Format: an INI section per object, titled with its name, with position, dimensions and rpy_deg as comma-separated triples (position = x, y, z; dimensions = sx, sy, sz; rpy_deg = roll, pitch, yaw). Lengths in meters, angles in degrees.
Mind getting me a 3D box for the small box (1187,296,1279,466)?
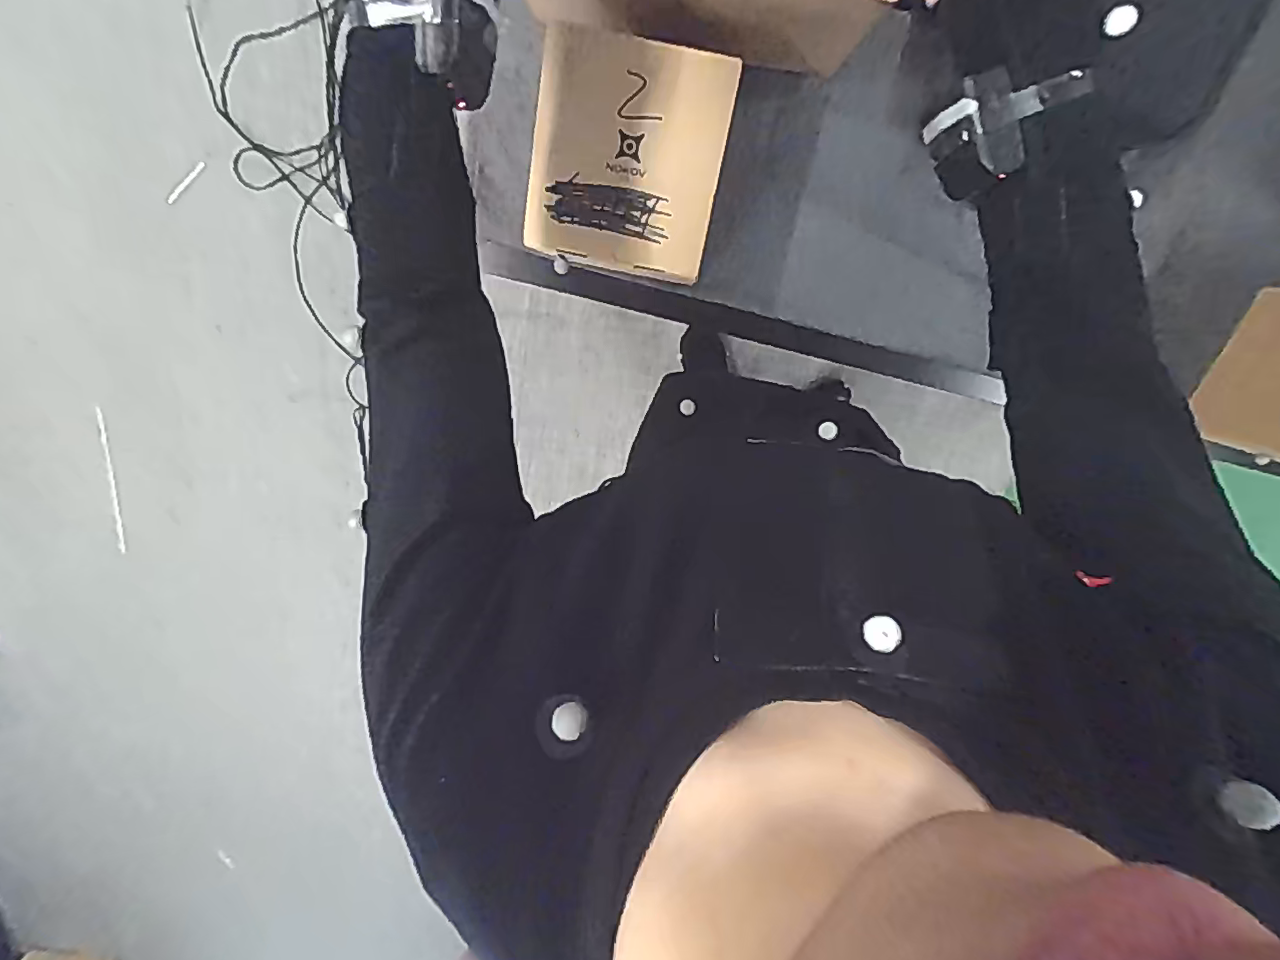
[small box]
position = 0.762, -0.090, 0.572
dimensions = 0.168, 0.176, 0.179
rpy_deg = 17, 109, -1
